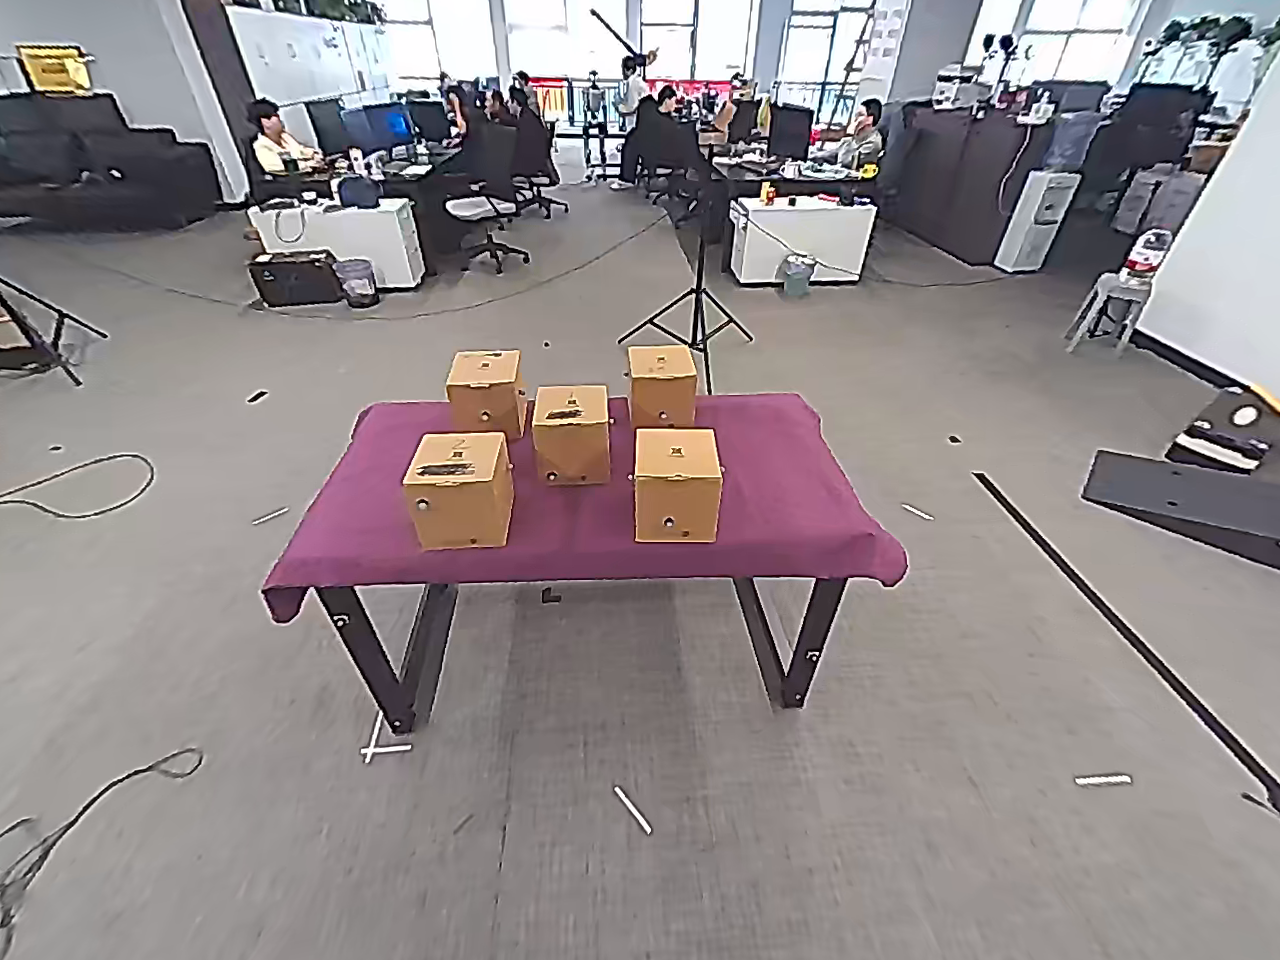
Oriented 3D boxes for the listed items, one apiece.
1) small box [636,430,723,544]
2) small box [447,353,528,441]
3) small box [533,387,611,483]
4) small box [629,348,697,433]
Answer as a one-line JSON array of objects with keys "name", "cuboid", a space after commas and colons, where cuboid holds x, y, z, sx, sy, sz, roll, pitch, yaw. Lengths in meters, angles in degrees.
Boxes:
[{"name": "small box", "cuboid": [0.076, 0.013, 1.134, 0.168, 0.176, 0.179, 0, 37, 0]}, {"name": "small box", "cuboid": [-0.389, -0.214, 1.415, 0.168, 0.176, 0.179, -2, 40, -5]}, {"name": "small box", "cuboid": [-0.154, -0.103, 1.280, 0.168, 0.176, 0.179, -2, 37, -3]}, {"name": "small box", "cuboid": [0.056, -0.241, 1.455, 0.168, 0.176, 0.179, -3, 39, -3]}]
